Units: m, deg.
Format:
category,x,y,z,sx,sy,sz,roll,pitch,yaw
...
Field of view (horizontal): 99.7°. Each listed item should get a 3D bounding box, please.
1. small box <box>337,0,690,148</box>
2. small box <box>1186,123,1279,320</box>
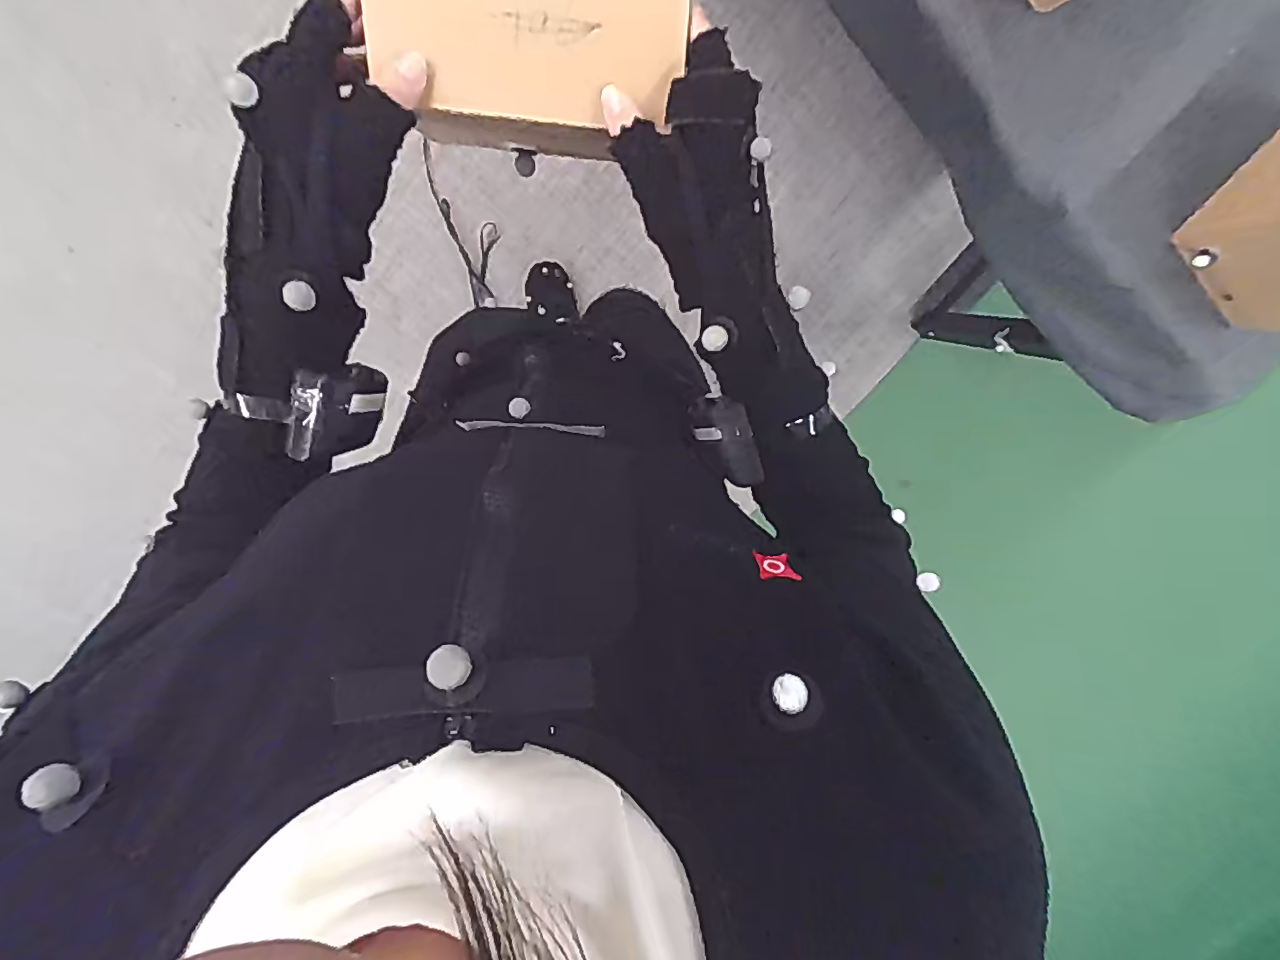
category,x,y,z,sx,sy,sz,roll,pitch,yaw
small box,-0.059,-0.309,0.305,0.168,0.176,0.179,4,116,-8
small box,0.749,-0.283,0.573,0.168,0.176,0.179,38,102,-17
